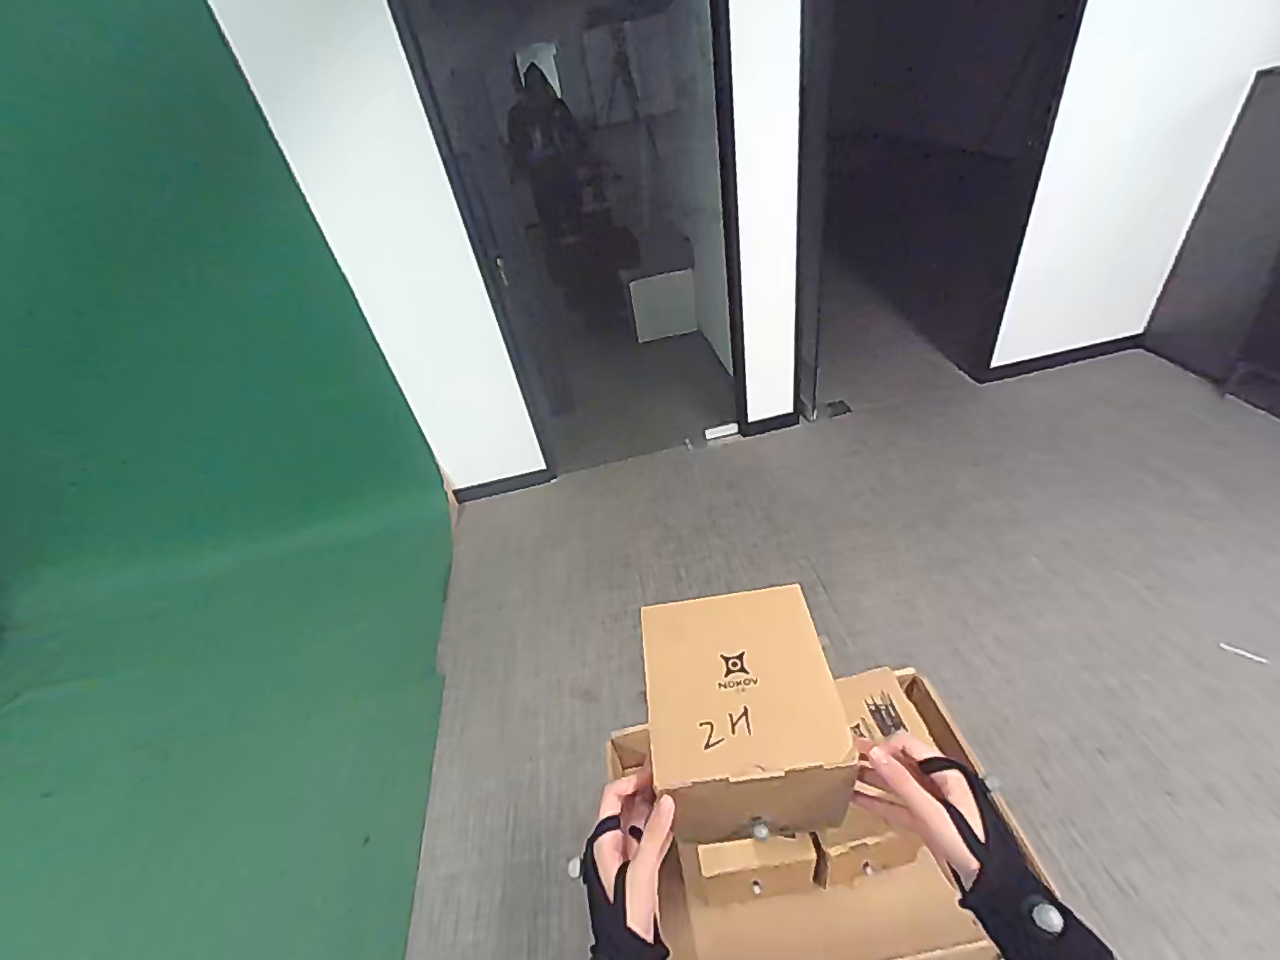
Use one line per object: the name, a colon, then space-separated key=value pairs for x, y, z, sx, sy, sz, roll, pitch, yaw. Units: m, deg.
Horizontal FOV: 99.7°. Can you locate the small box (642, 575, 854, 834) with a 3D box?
small box: x=0.096 y=0.223 z=0.541 sx=0.168 sy=0.176 sz=0.179 roll=-9 pitch=41 yaw=5
